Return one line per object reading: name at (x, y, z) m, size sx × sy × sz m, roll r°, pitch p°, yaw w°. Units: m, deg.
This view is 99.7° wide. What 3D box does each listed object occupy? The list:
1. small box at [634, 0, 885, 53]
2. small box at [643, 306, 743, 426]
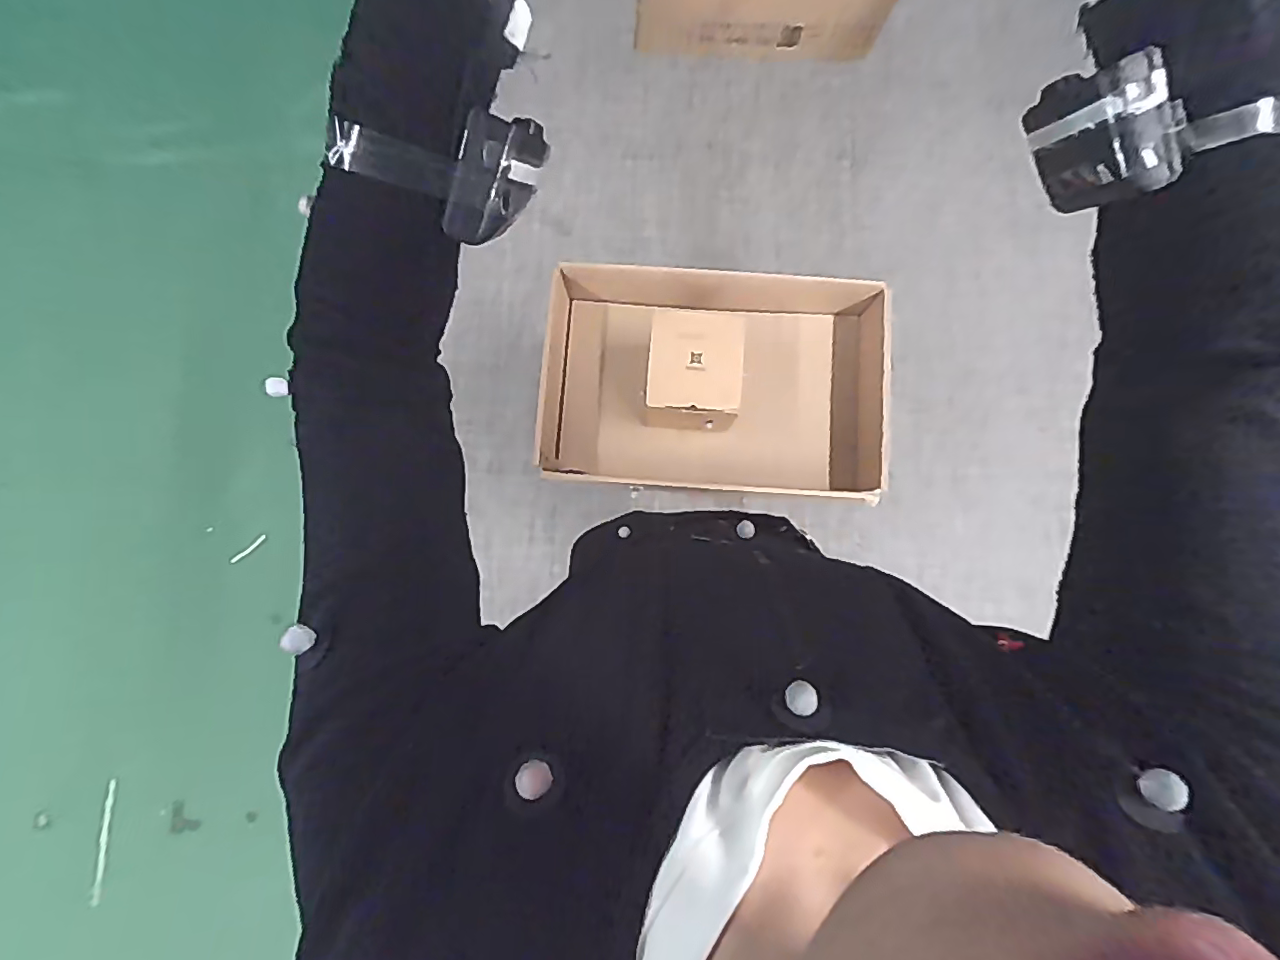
small box at (0.081, -0.388, 0.305) m, size 0.168 × 0.176 × 0.179 m, roll -1°, pitch 84°, yaw -4°
small box at (0.092, -0.204, 1.017) m, size 0.168 × 0.176 × 0.179 m, roll 4°, pitch 82°, yaw -1°
